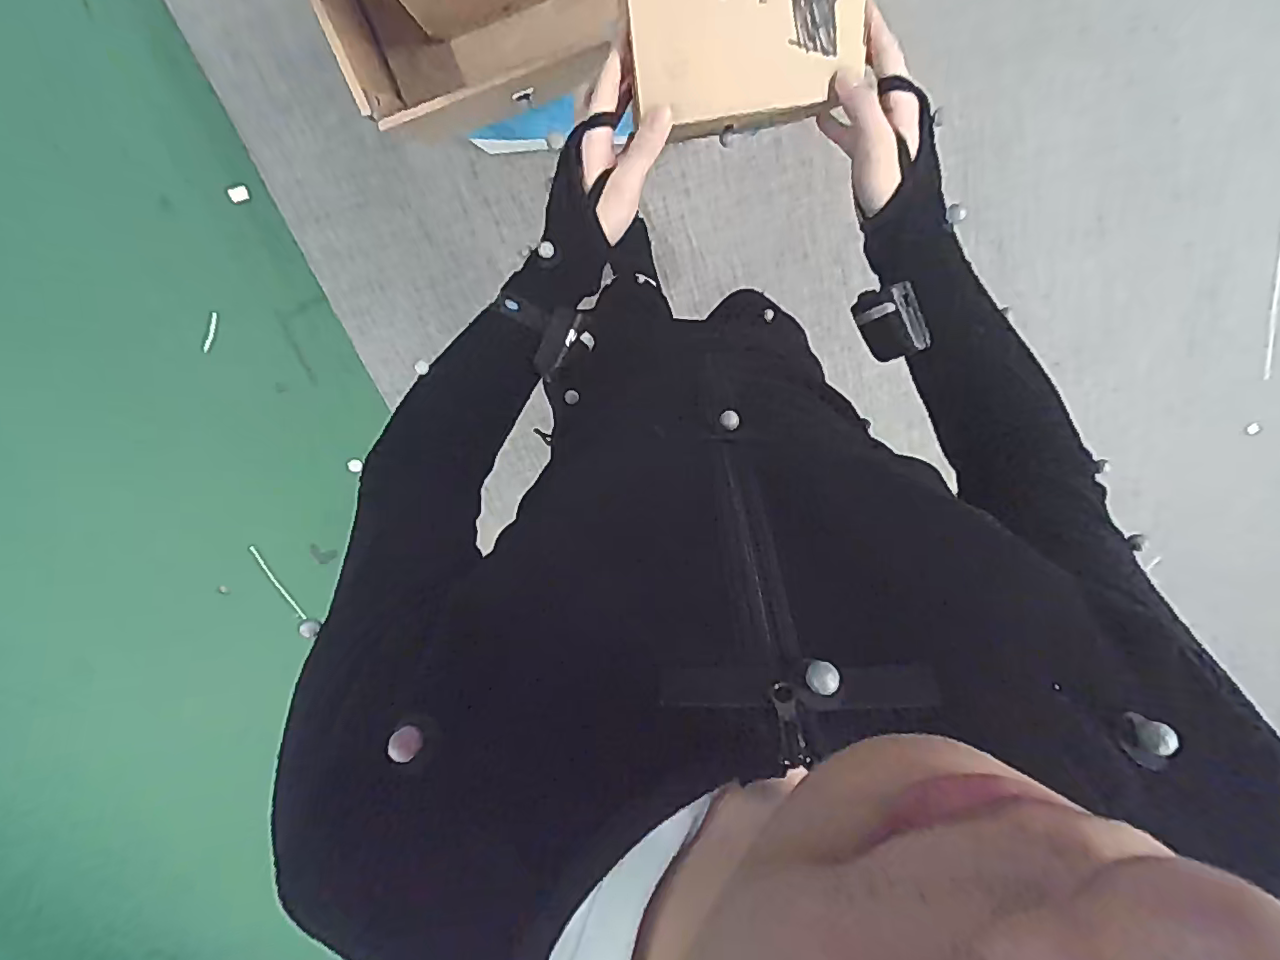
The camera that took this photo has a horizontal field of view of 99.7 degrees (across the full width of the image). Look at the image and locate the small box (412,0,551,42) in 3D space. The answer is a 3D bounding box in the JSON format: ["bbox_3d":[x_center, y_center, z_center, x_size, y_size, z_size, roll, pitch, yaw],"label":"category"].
[{"bbox_3d":[-0.208,-0.640,0.597,0.168,0.176,0.179,-17,112,5],"label":"small box"}]
